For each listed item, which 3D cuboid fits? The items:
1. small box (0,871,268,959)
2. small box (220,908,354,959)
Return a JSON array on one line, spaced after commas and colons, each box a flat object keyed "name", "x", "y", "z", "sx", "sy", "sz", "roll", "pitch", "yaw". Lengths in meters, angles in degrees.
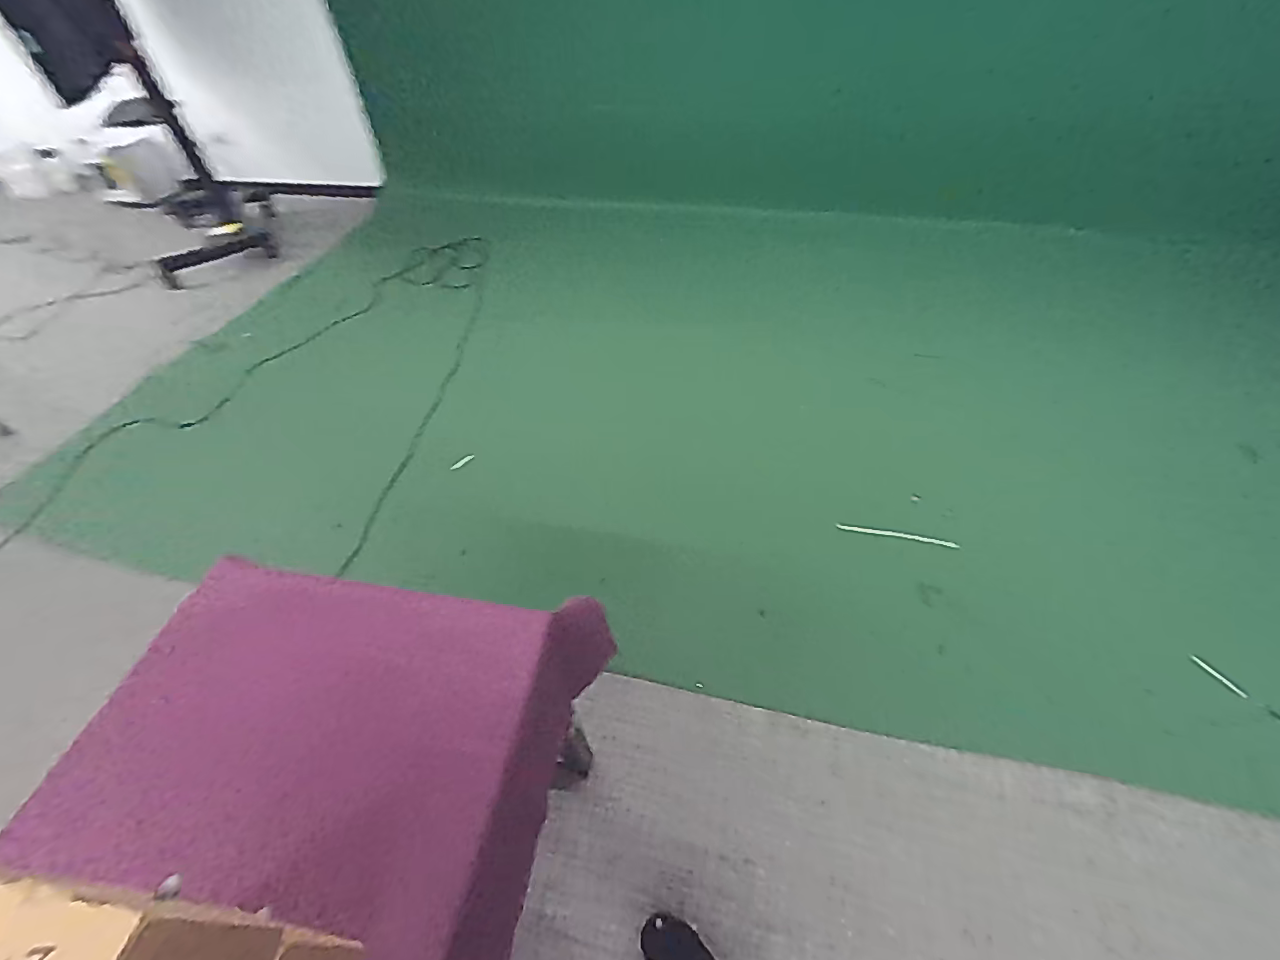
[{"name": "small box", "x": -0.405, "y": 0.390, "z": 0.364, "sx": 0.168, "sy": 0.176, "sz": 0.179, "roll": 6, "pitch": 49, "yaw": 8}, {"name": "small box", "x": -0.400, "y": 0.501, "z": 0.486, "sx": 0.179, "sy": 0.176, "sz": 0.168, "roll": 6, "pitch": 49, "yaw": 8}]
